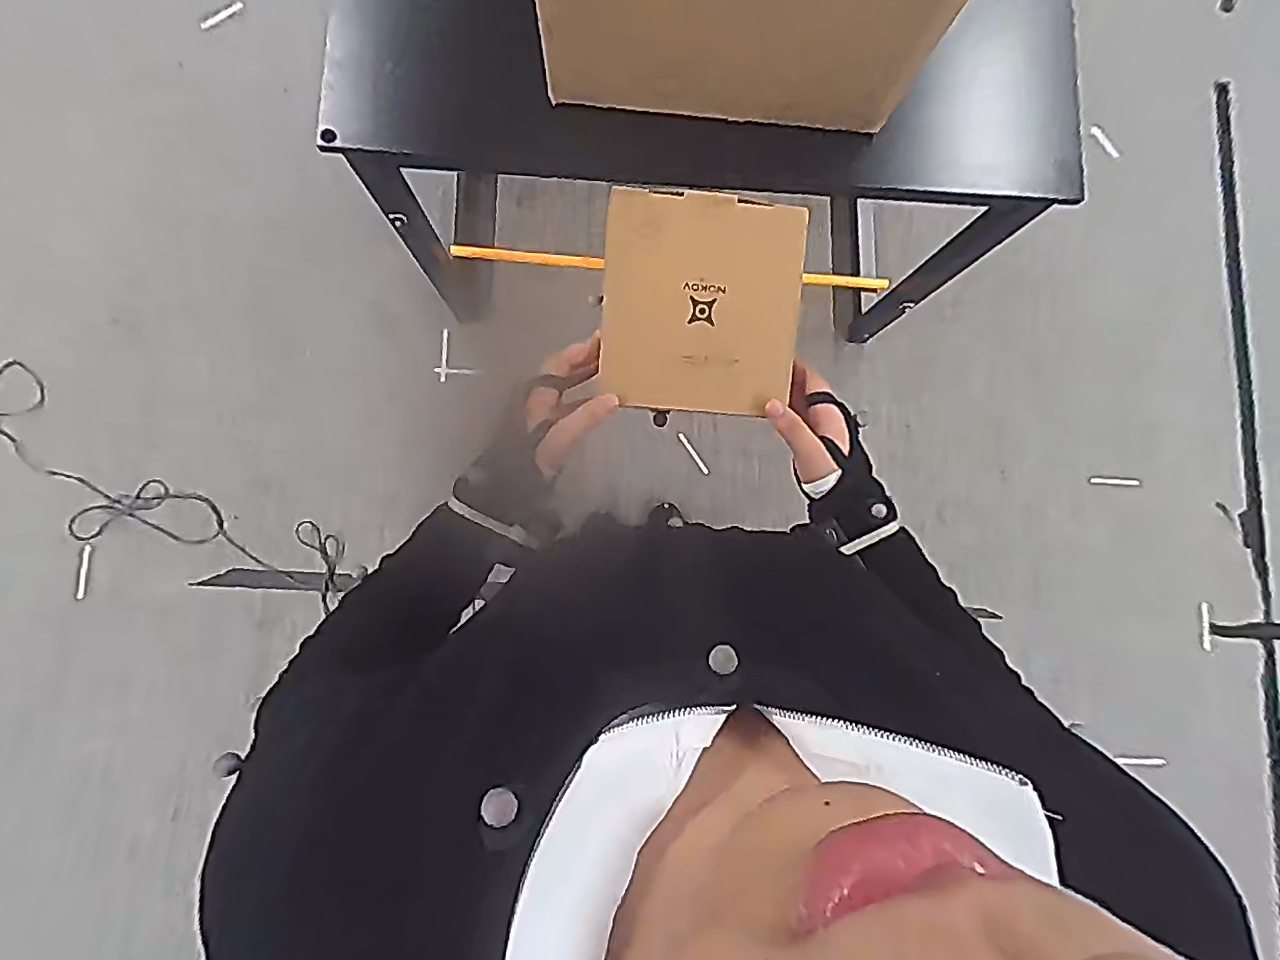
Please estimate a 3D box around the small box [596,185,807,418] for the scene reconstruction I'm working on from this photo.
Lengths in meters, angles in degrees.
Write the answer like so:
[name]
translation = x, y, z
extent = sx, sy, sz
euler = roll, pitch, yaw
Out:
[small box]
translation = 0.045, -0.155, 0.528
extent = 0.168, 0.176, 0.179
euler = 4, 97, -5
